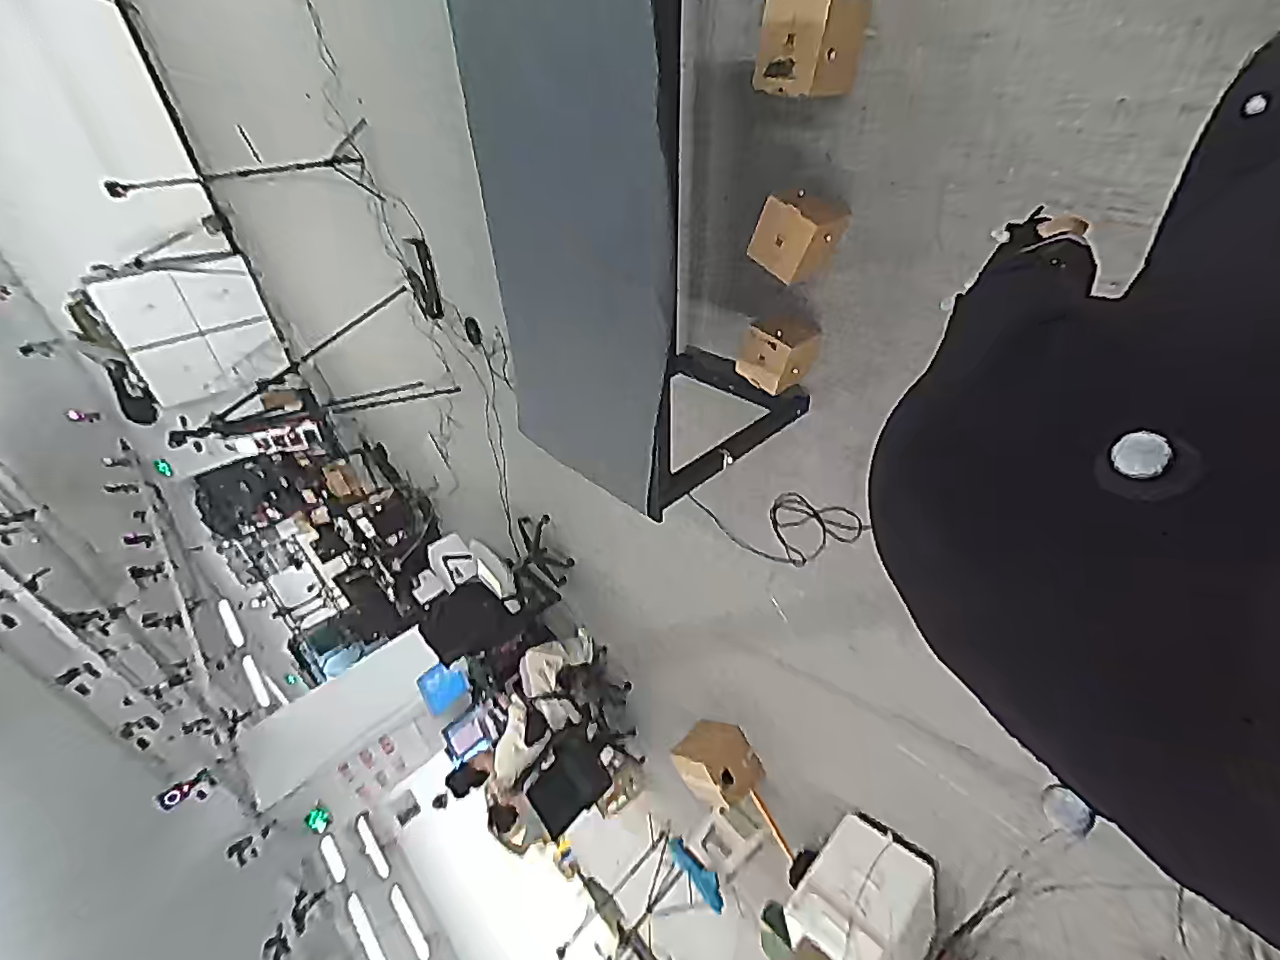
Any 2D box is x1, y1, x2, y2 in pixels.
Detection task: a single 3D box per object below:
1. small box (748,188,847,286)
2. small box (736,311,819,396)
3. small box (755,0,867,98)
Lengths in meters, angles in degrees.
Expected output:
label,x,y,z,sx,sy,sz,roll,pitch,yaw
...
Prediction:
label,x,y,z,sx,sy,sz,roll,pitch,yaw
small box,0.433,-0.669,1.477,0.168,0.176,0.179,46,147,20
small box,0.434,-0.401,1.698,0.168,0.176,0.179,40,144,26
small box,0.394,-1.004,1.250,0.168,0.176,0.179,35,140,31
